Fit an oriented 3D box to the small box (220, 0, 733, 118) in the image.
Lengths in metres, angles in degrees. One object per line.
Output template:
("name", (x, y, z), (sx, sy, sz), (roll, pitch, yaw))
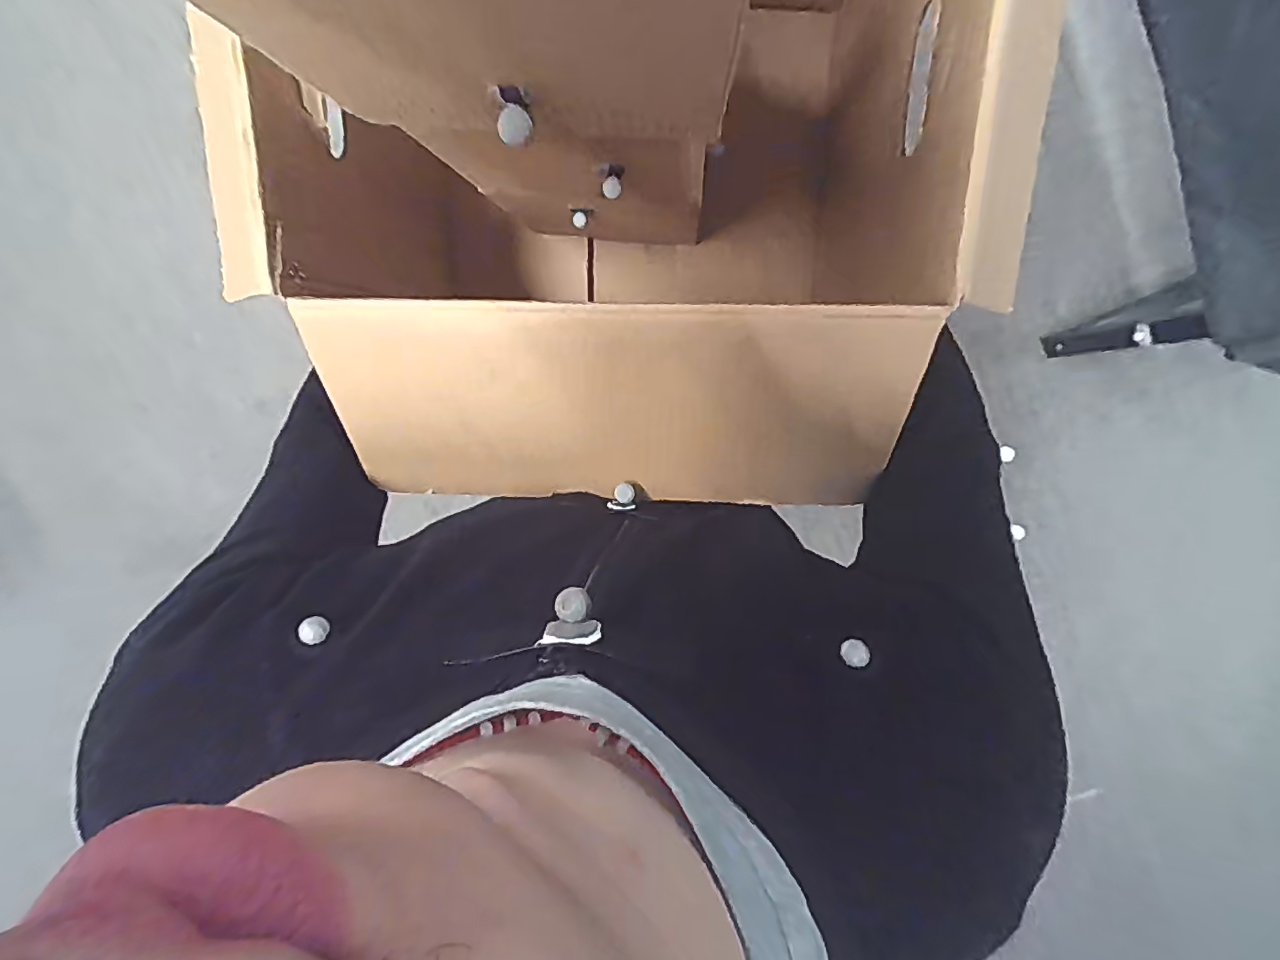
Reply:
("small box", (-0.049, -0.227, 0.152), (0.179, 0.176, 0.168), (5, 105, 2))
